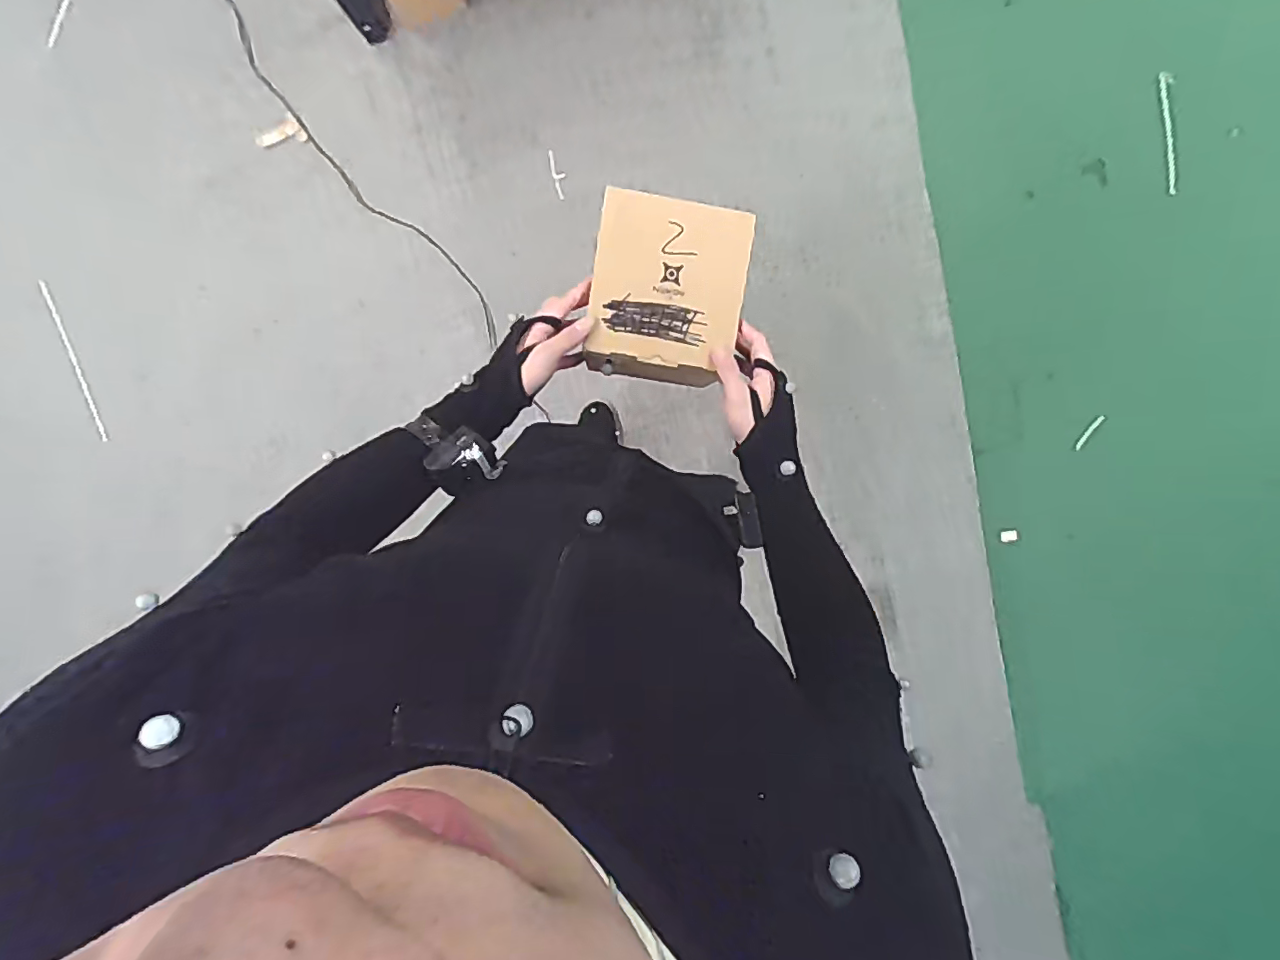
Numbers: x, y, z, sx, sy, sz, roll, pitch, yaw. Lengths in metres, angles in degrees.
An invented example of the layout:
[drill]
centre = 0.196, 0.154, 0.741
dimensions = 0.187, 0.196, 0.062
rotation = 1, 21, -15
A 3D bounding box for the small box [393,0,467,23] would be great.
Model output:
[small box]
centre = -0.565, -1.306, 1.359
dimensions = 0.179, 0.176, 0.168
rotation = -15, 98, 3
